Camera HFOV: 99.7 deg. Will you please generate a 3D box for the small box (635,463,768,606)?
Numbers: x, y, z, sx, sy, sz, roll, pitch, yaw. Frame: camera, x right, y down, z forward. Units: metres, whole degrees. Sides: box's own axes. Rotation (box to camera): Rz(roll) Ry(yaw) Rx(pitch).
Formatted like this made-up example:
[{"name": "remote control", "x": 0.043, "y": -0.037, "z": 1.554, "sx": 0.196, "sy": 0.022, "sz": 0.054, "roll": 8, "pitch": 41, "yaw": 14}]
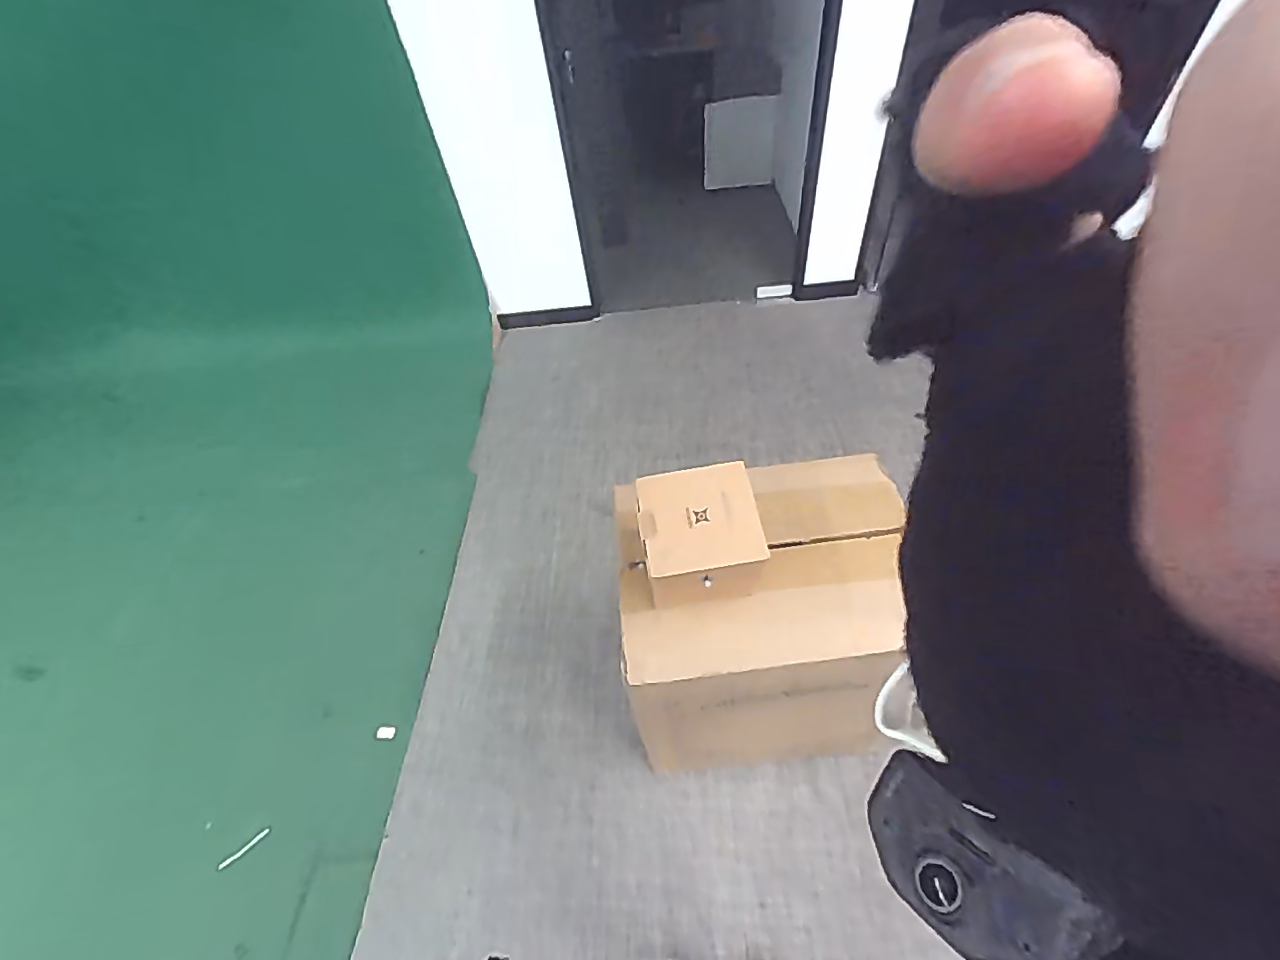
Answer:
[{"name": "small box", "x": 0.094, "y": 0.095, "z": 0.876, "sx": 0.179, "sy": 0.176, "sz": 0.168, "roll": -9, "pitch": 61, "yaw": -1}]
